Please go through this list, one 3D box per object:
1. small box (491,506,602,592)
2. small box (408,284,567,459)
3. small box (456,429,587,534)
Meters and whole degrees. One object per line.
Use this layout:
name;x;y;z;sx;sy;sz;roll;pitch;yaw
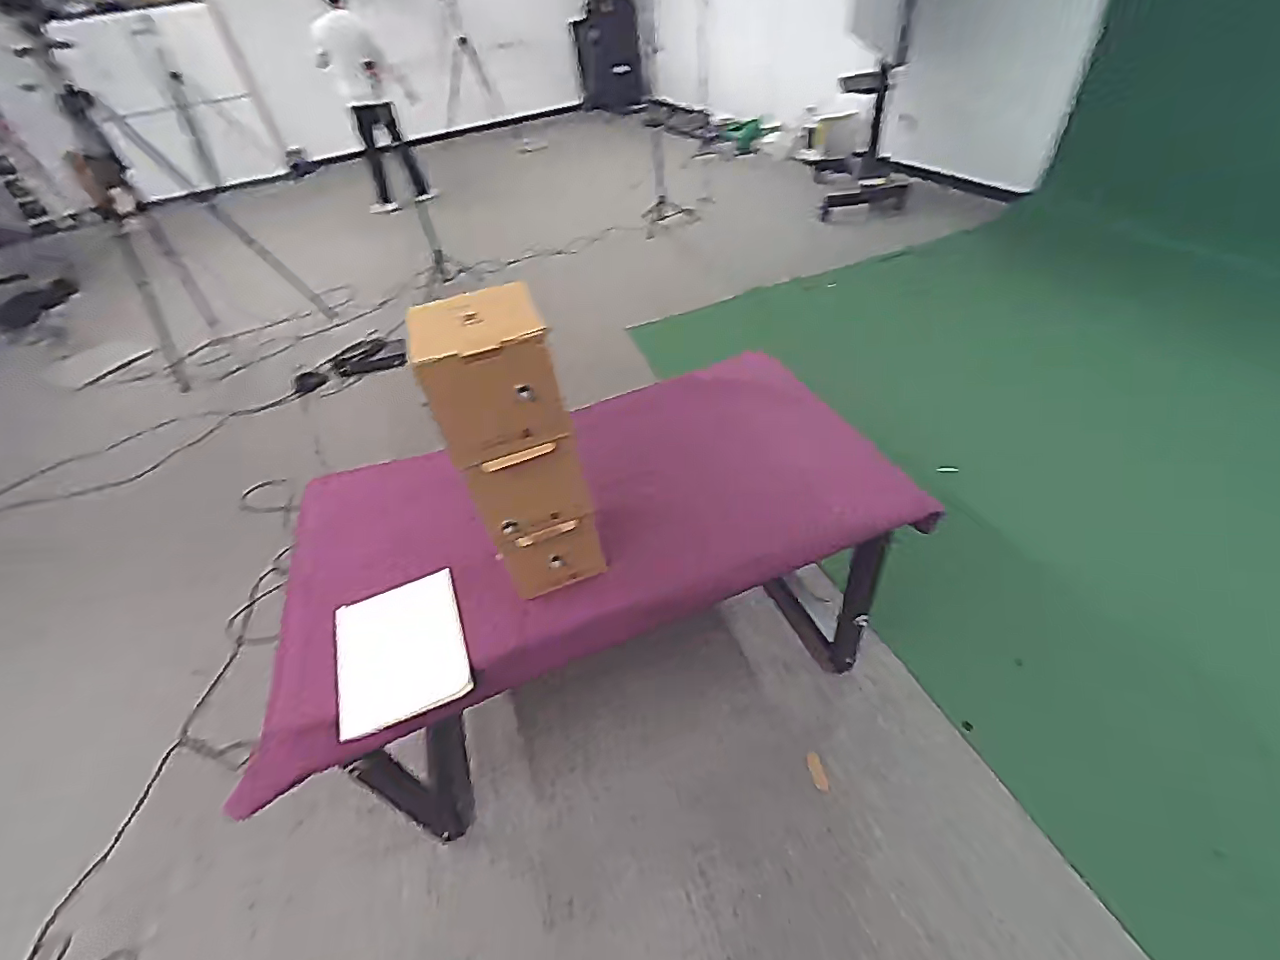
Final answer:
small box;-0.178;0.083;0.995;0.168;0.176;0.179;-19;44;-11
small box;-0.212;-0.149;0.765;0.168;0.176;0.179;-18;43;-10
small box;-0.195;-0.033;0.879;0.168;0.176;0.179;-19;43;-10
